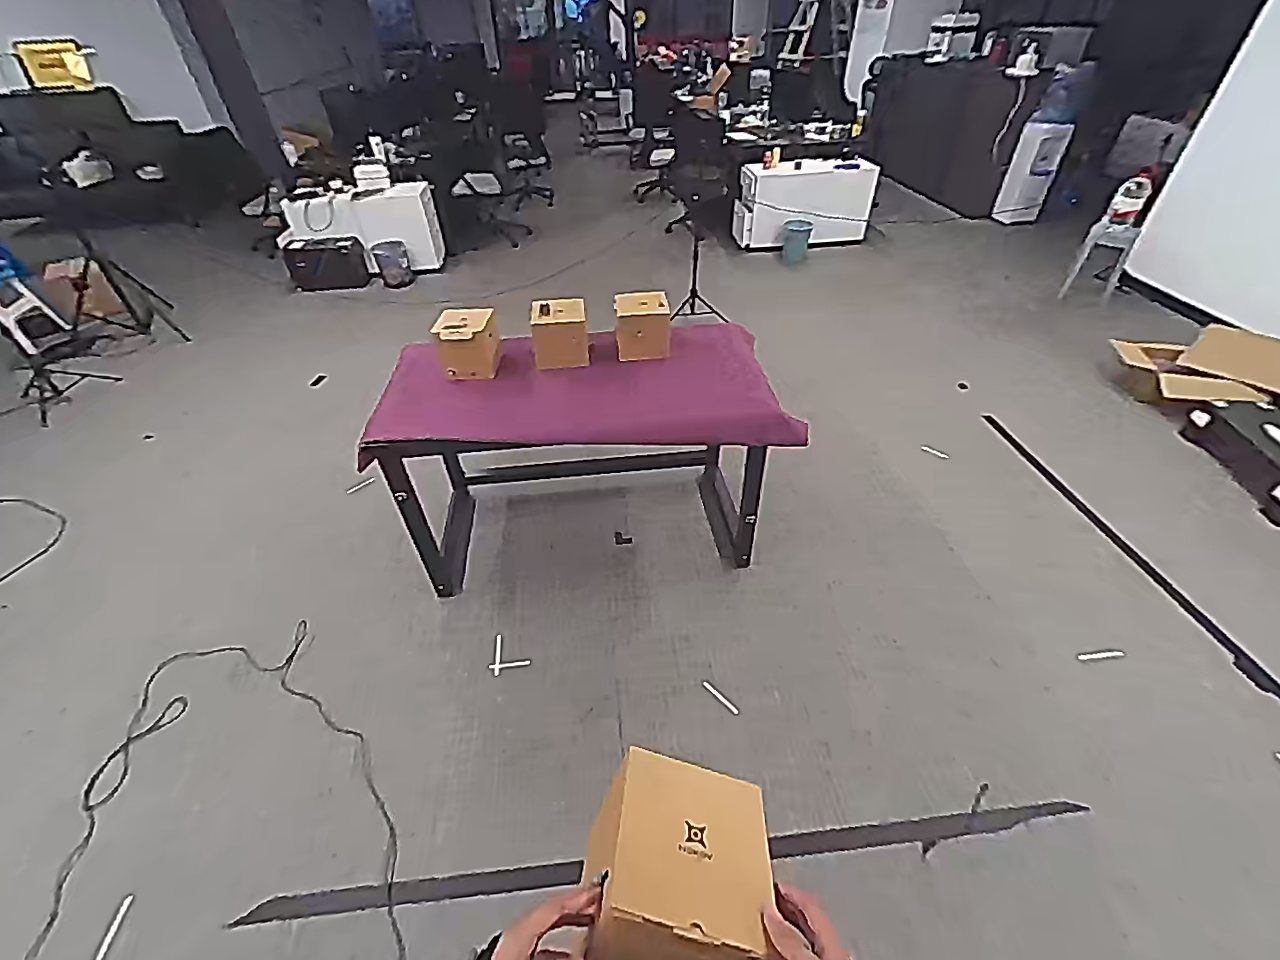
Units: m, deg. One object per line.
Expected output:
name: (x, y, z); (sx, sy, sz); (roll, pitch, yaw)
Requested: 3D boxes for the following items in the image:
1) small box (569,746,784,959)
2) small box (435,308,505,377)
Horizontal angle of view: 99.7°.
small box: (0.032, 0.435, 0.579); (0.168, 0.176, 0.179); (19, 22, -2)
small box: (-0.553, -0.450, 1.784); (0.168, 0.176, 0.179); (-1, 42, 1)
